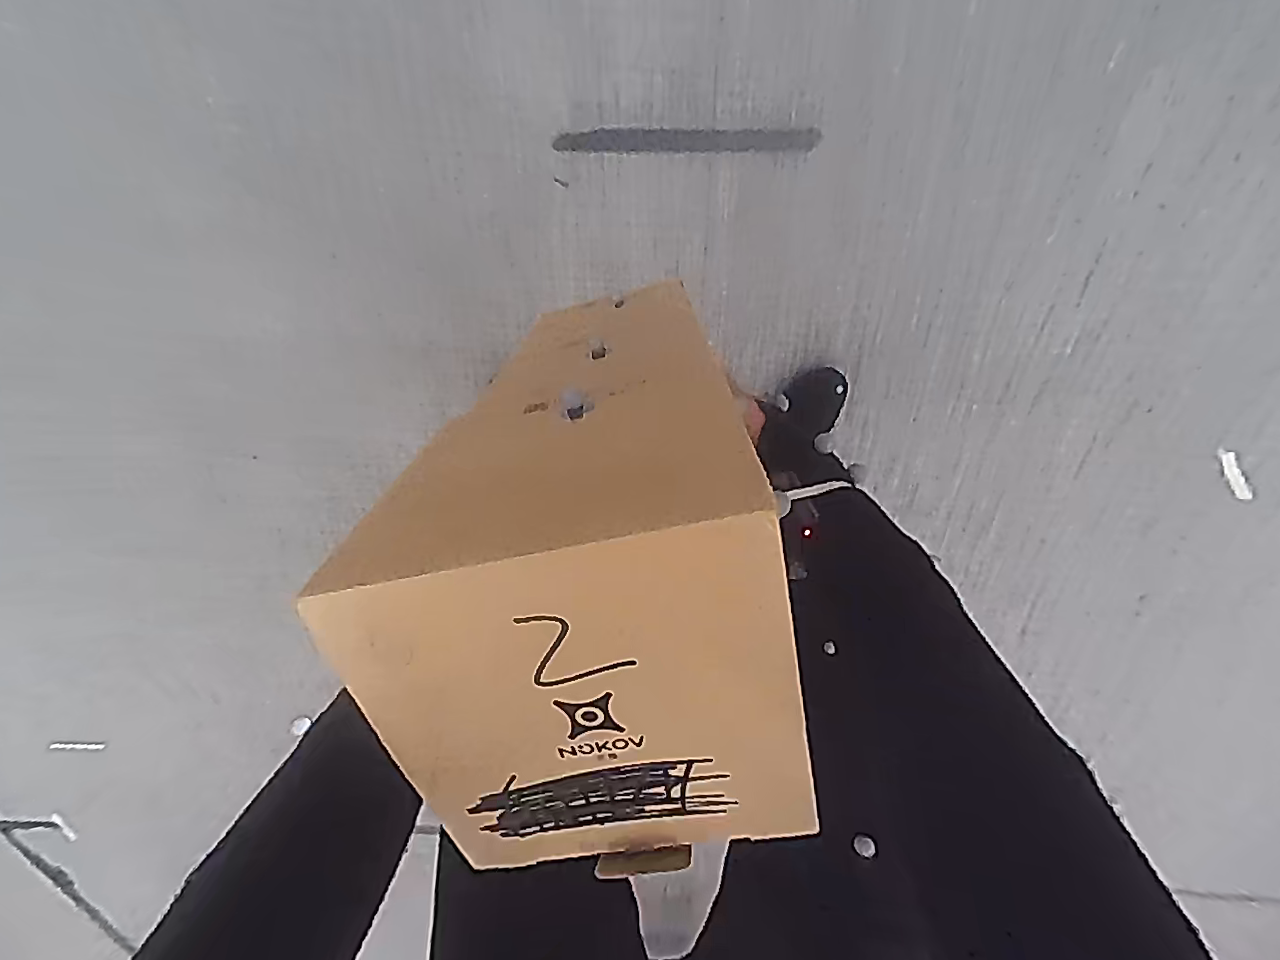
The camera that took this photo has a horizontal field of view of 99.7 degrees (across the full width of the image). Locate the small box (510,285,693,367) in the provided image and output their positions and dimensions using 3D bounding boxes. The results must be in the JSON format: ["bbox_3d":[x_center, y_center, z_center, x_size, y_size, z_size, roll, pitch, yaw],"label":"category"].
[{"bbox_3d":[-0.015,-0.089,0.573,0.168,0.176,0.179,-13,118,7],"label":"small box"}]

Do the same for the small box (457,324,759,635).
[{"bbox_3d":[-0.015,-0.013,0.427,0.168,0.176,0.179,-13,118,7],"label":"small box"}]
